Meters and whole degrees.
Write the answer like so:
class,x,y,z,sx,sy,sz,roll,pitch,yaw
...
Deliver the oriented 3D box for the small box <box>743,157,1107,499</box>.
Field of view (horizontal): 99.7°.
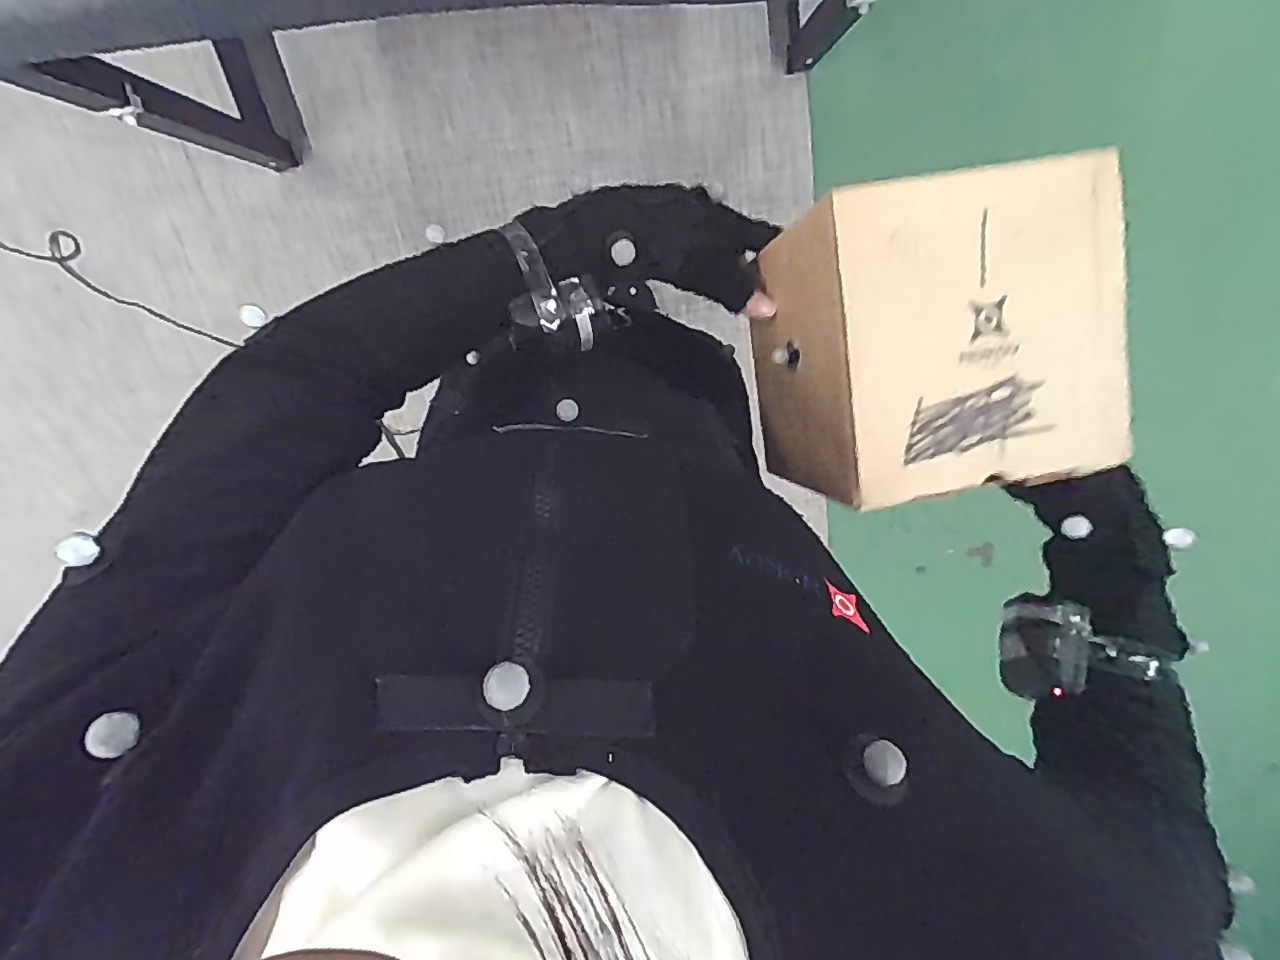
class,x,y,z,sx,sy,sz,roll,pitch,yaw
small box,0.182,-0.096,0.389,0.168,0.176,0.179,-9,98,-4
